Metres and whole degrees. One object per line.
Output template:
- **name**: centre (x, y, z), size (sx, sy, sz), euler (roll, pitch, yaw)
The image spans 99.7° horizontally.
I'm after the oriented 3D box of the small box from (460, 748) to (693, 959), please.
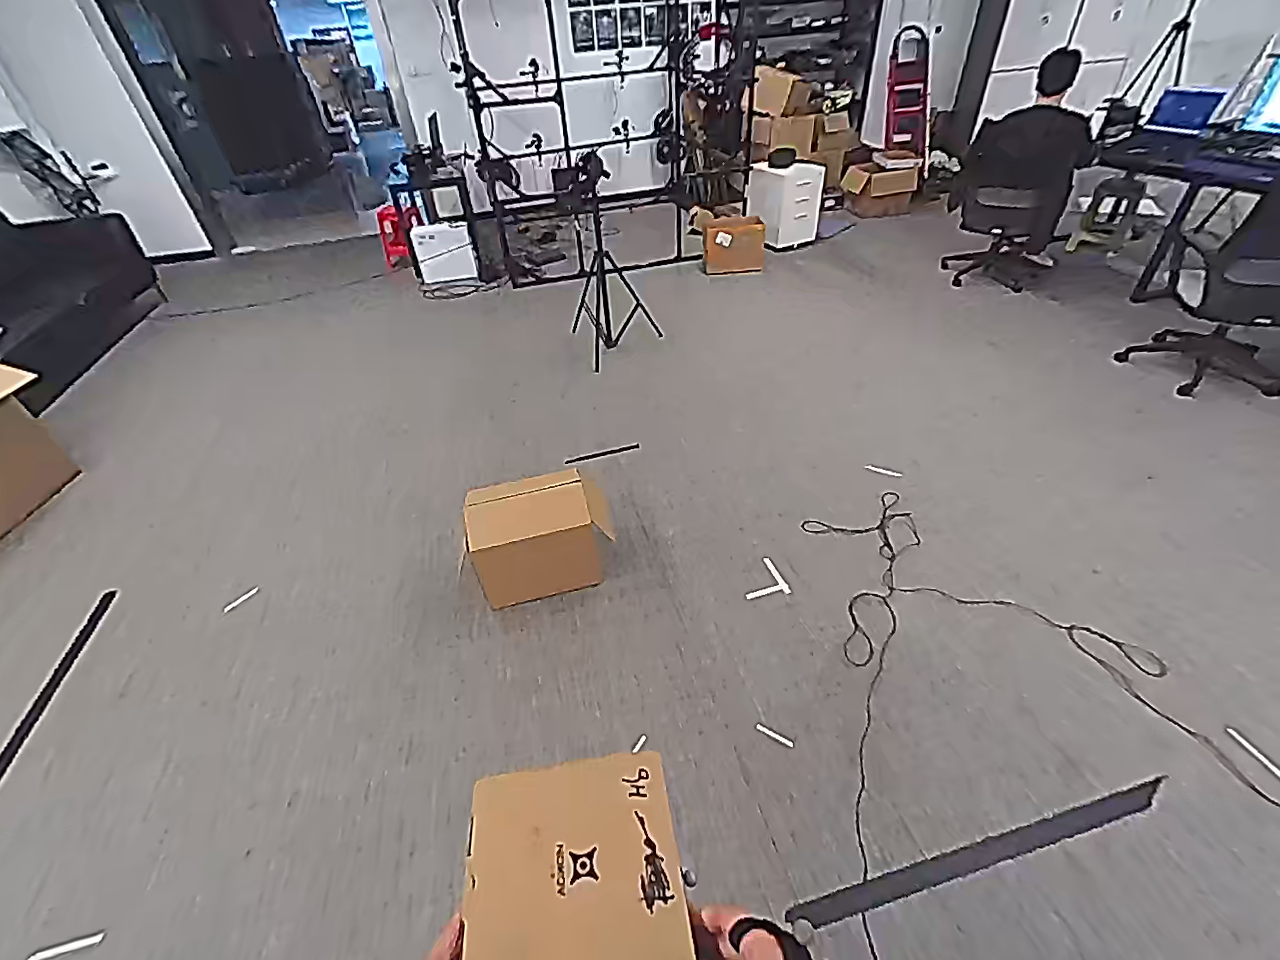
- **small box**: centre (-0.052, 0.378, 0.498), size (0.179, 0.176, 0.168), euler (-7, 40, -5)
